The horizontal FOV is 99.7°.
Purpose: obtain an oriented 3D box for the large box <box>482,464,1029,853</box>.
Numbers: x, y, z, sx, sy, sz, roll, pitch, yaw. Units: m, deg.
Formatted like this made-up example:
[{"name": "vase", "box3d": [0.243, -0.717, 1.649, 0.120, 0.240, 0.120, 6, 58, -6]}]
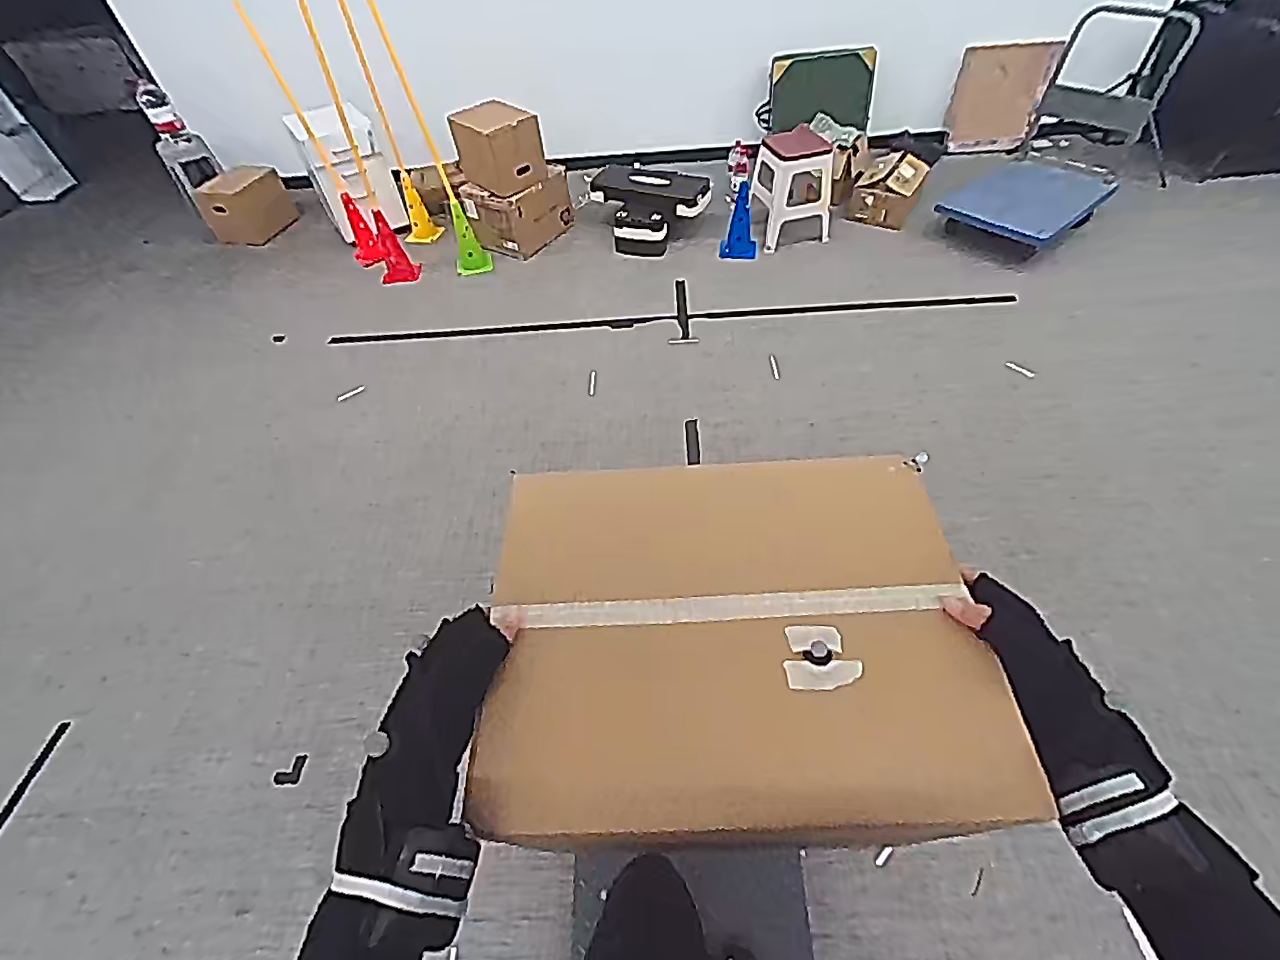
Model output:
[{"name": "large box", "box3d": [0.083, 0.206, 0.594, 0.408, 0.320, 0.320, -3, 53, 2]}]
